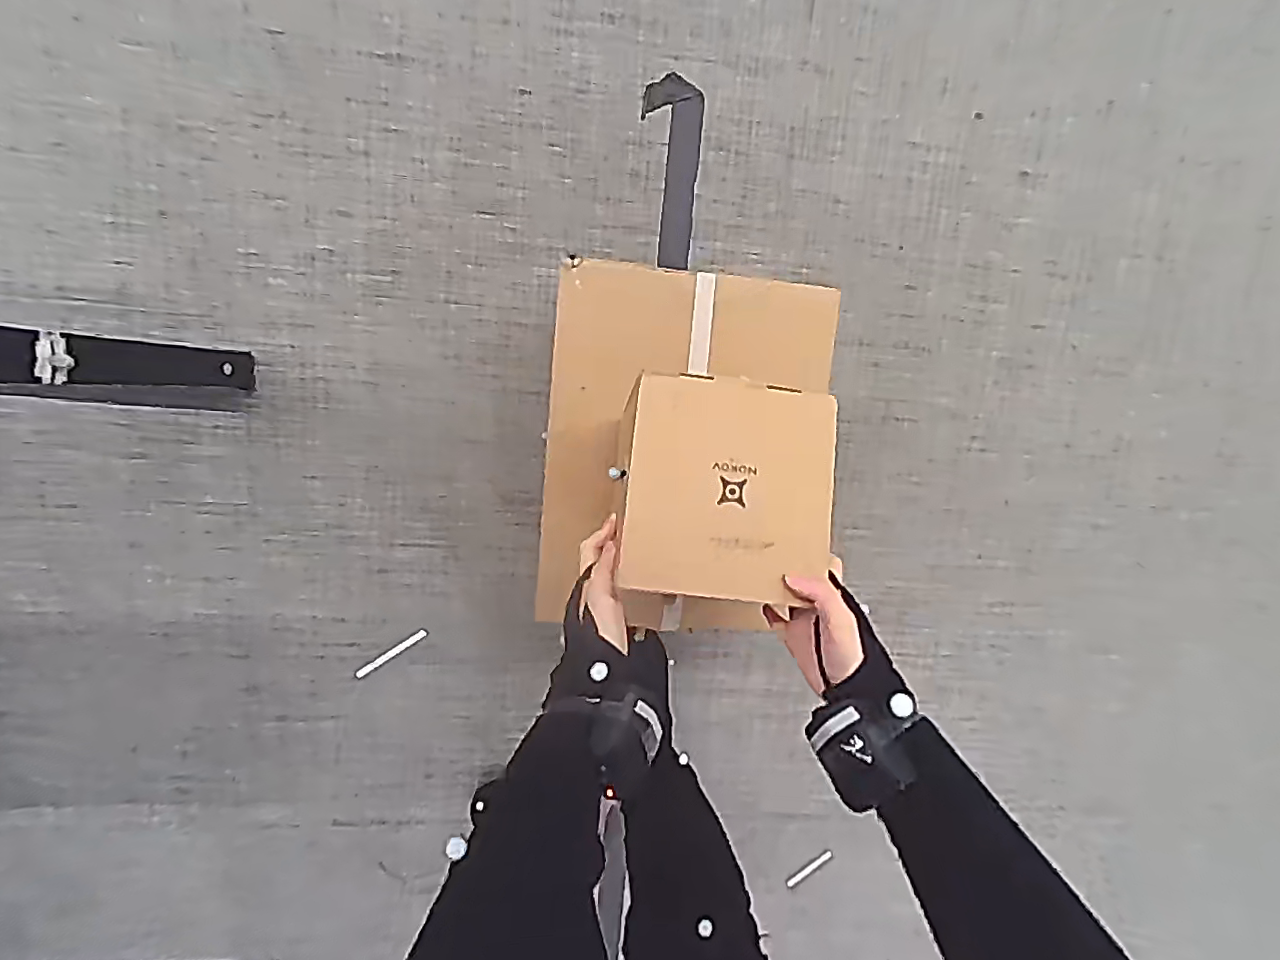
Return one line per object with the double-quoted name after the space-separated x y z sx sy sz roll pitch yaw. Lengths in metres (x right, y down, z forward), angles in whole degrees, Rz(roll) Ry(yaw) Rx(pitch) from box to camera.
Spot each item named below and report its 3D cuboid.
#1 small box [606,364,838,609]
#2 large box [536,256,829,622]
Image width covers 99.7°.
0.062 0.014 0.500 0.168 0.176 0.179 8 82 -6 "small box"
0.033 -0.051 0.757 0.320 0.320 0.408 4 97 -7 "large box"
